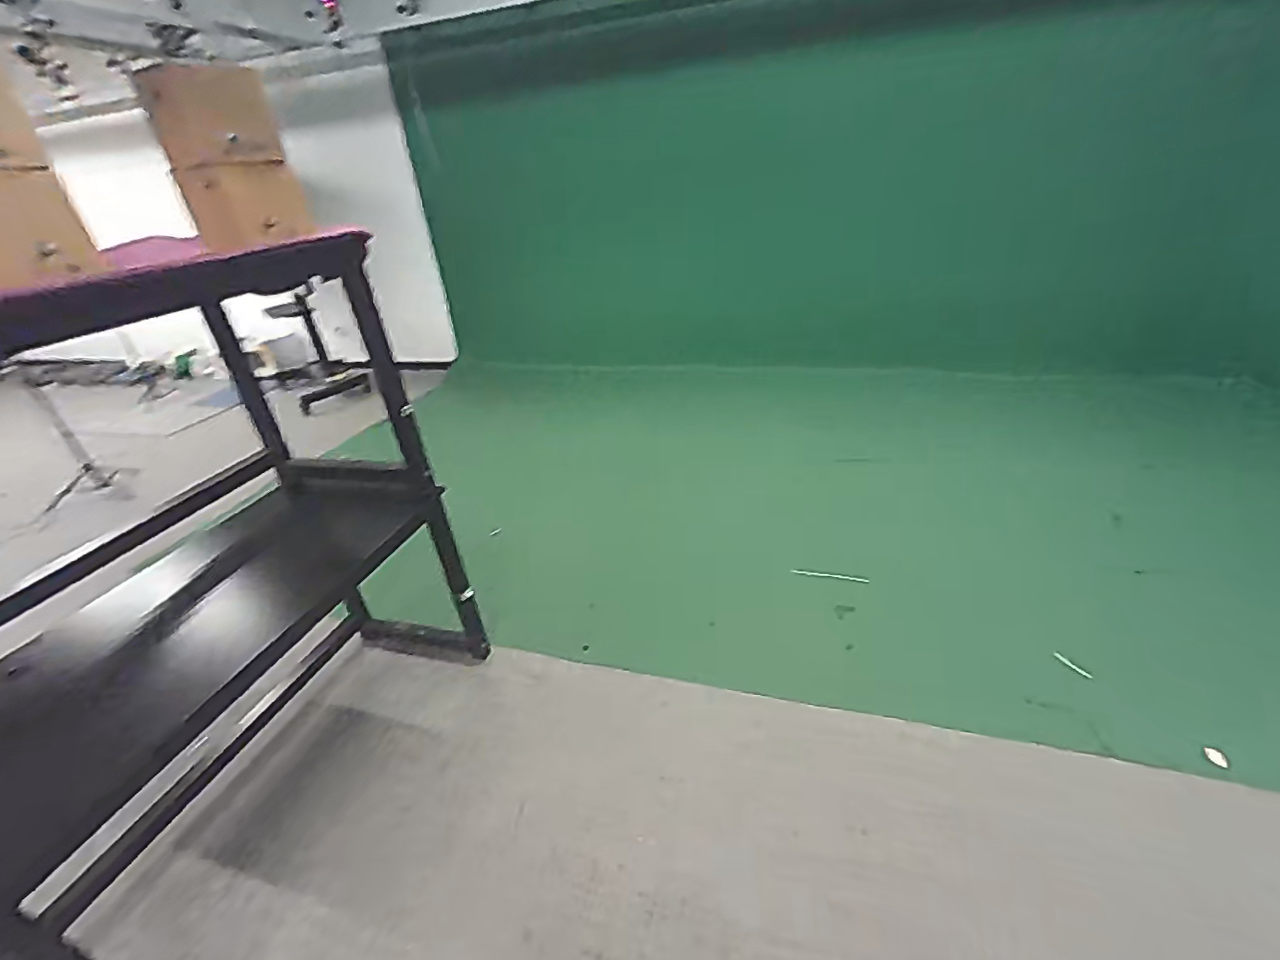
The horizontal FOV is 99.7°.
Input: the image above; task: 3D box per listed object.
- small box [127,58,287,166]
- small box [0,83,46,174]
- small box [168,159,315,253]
[{"bbox_3d":[-0.870,-0.737,1.099,0.179,0.176,0.168,15,38,27],"label":"small box"},{"bbox_3d":[-1.048,-0.535,0.780,0.179,0.176,0.168,3,31,15],"label":"small box"},{"bbox_3d":[-0.864,-0.599,1.184,0.179,0.176,0.168,11,35,25],"label":"small box"}]
